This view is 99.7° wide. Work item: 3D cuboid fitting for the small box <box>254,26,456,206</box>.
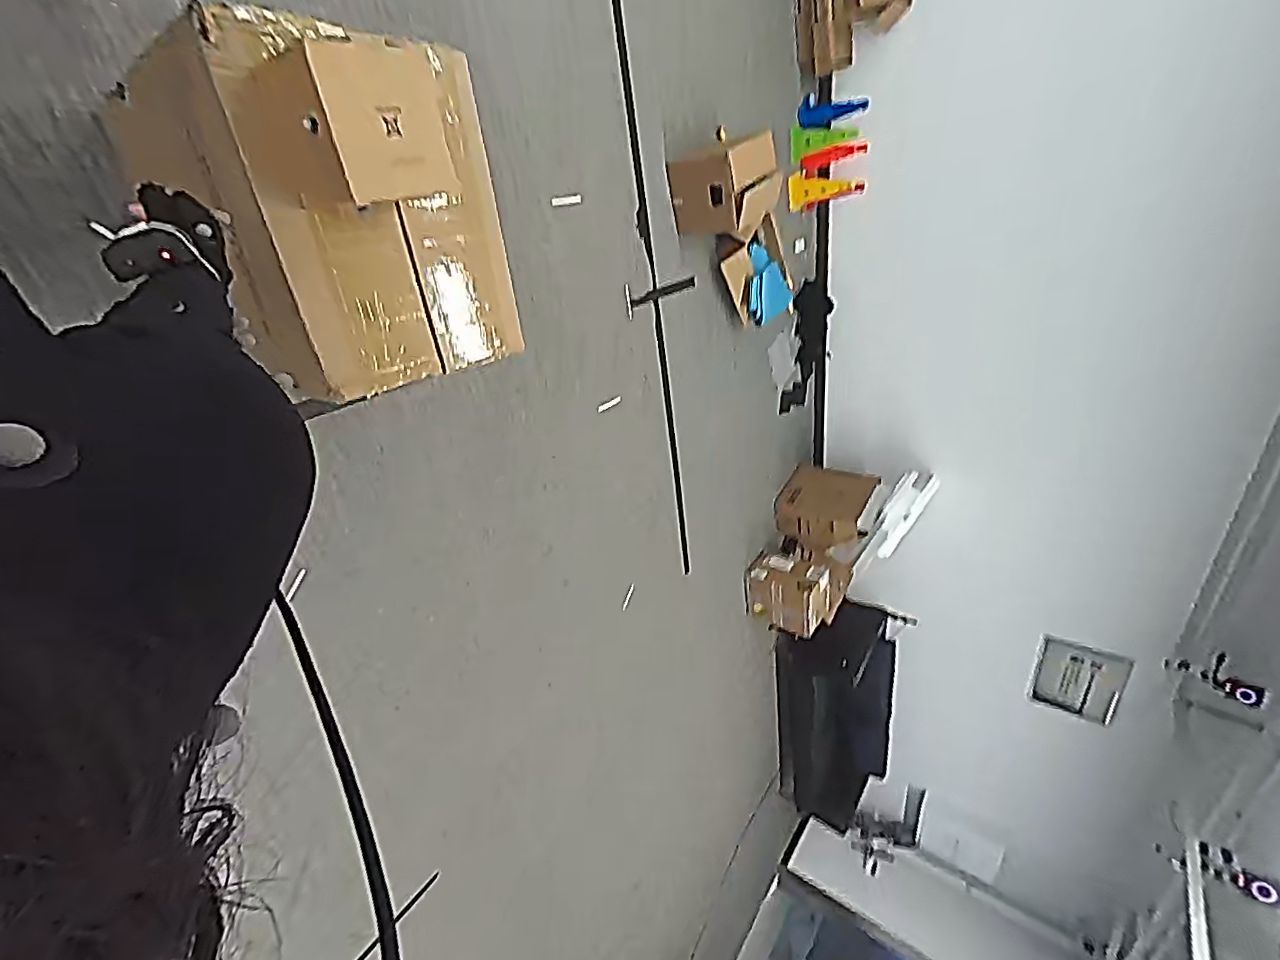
[{"bbox_3d":[-0.393,-0.492,0.754,0.168,0.176,0.179,-34,129,-40],"label":"small box"}]
